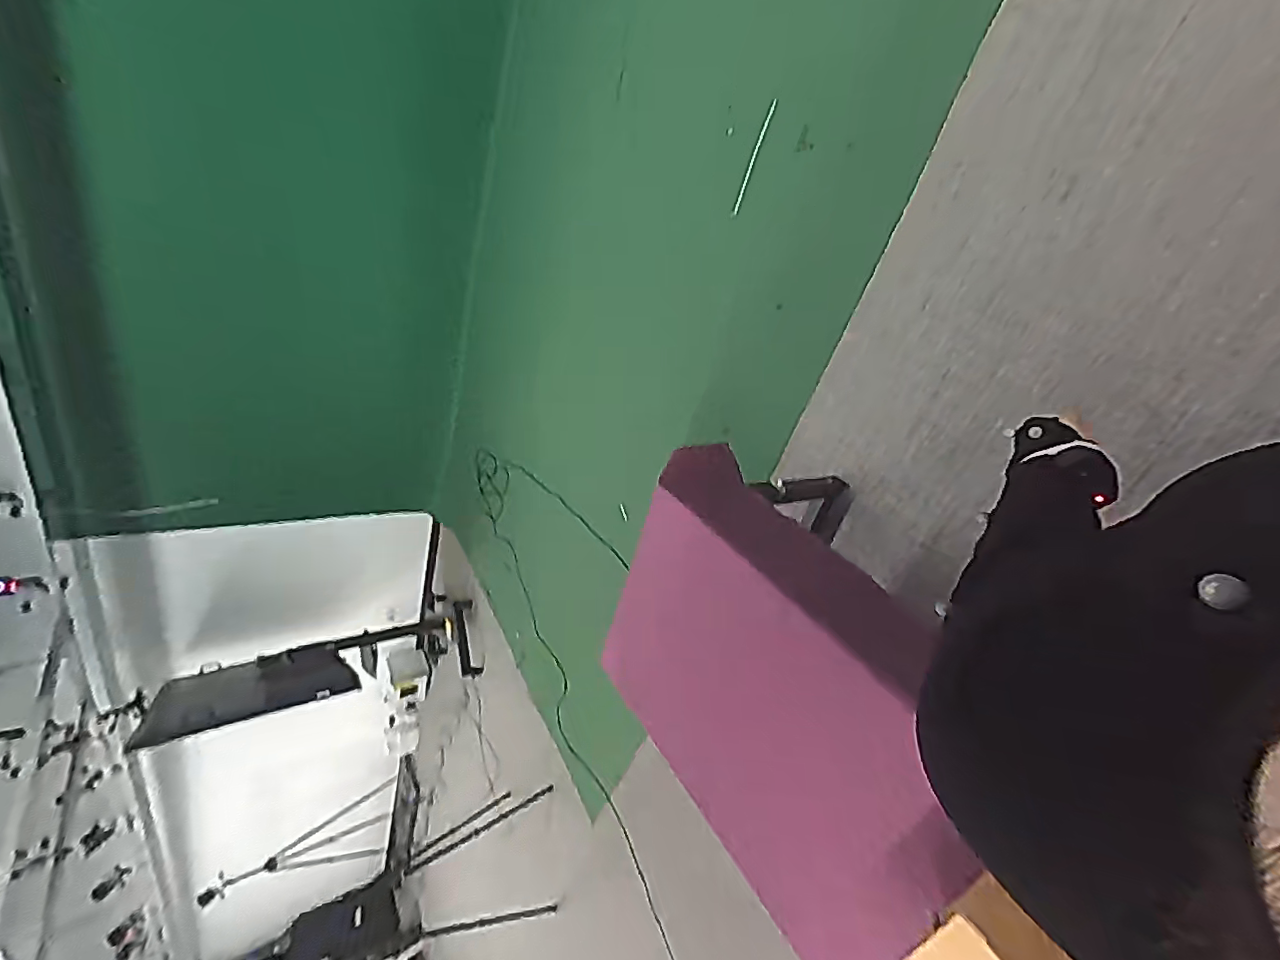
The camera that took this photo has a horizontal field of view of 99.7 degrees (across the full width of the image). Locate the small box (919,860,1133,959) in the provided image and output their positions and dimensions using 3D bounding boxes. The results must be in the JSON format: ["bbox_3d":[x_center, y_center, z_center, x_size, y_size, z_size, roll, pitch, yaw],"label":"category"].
[{"bbox_3d":[0.471,0.619,0.658,0.168,0.176,0.179,44,126,42],"label":"small box"}]
